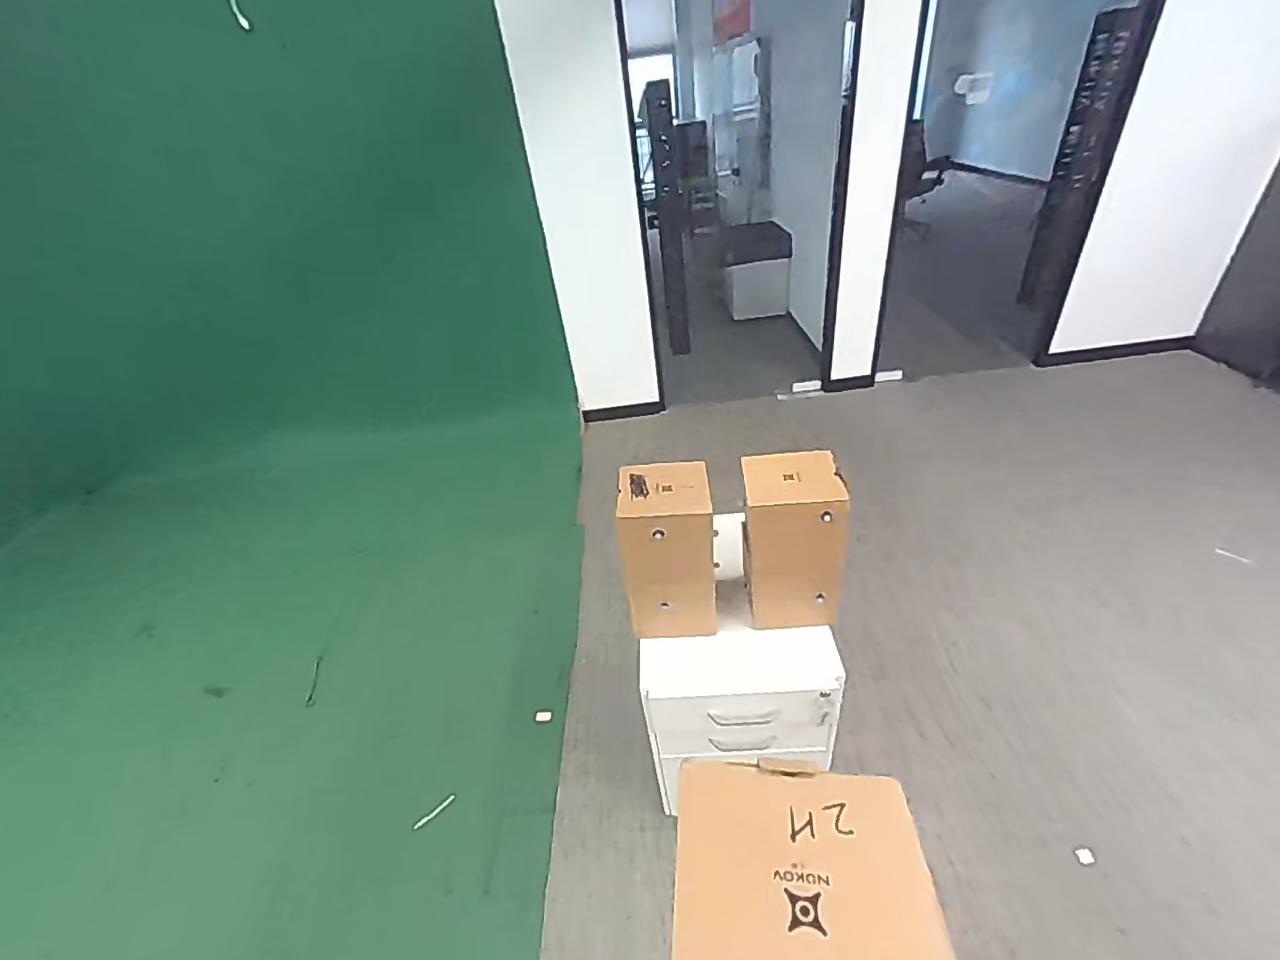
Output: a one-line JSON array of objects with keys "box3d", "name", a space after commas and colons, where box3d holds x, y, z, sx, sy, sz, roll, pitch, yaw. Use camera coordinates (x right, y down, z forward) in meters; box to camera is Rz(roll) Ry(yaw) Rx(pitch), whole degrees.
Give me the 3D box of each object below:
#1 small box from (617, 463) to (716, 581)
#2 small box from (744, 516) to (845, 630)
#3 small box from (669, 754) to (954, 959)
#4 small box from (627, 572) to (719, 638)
[{"box3d": [0.054, 0.084, 1.061, 0.179, 0.176, 0.168, -3, 36, 4], "name": "small box"}, {"box3d": [0.317, 0.197, 1.139, 0.179, 0.176, 0.168, -6, 35, 6], "name": "small box"}, {"box3d": [0.105, 0.330, 0.380, 0.168, 0.176, 0.179, 3, 30, 6], "name": "small box"}, {"box3d": [0.072, 0.220, 1.154, 0.179, 0.176, 0.168, -4, 36, 5], "name": "small box"}]
